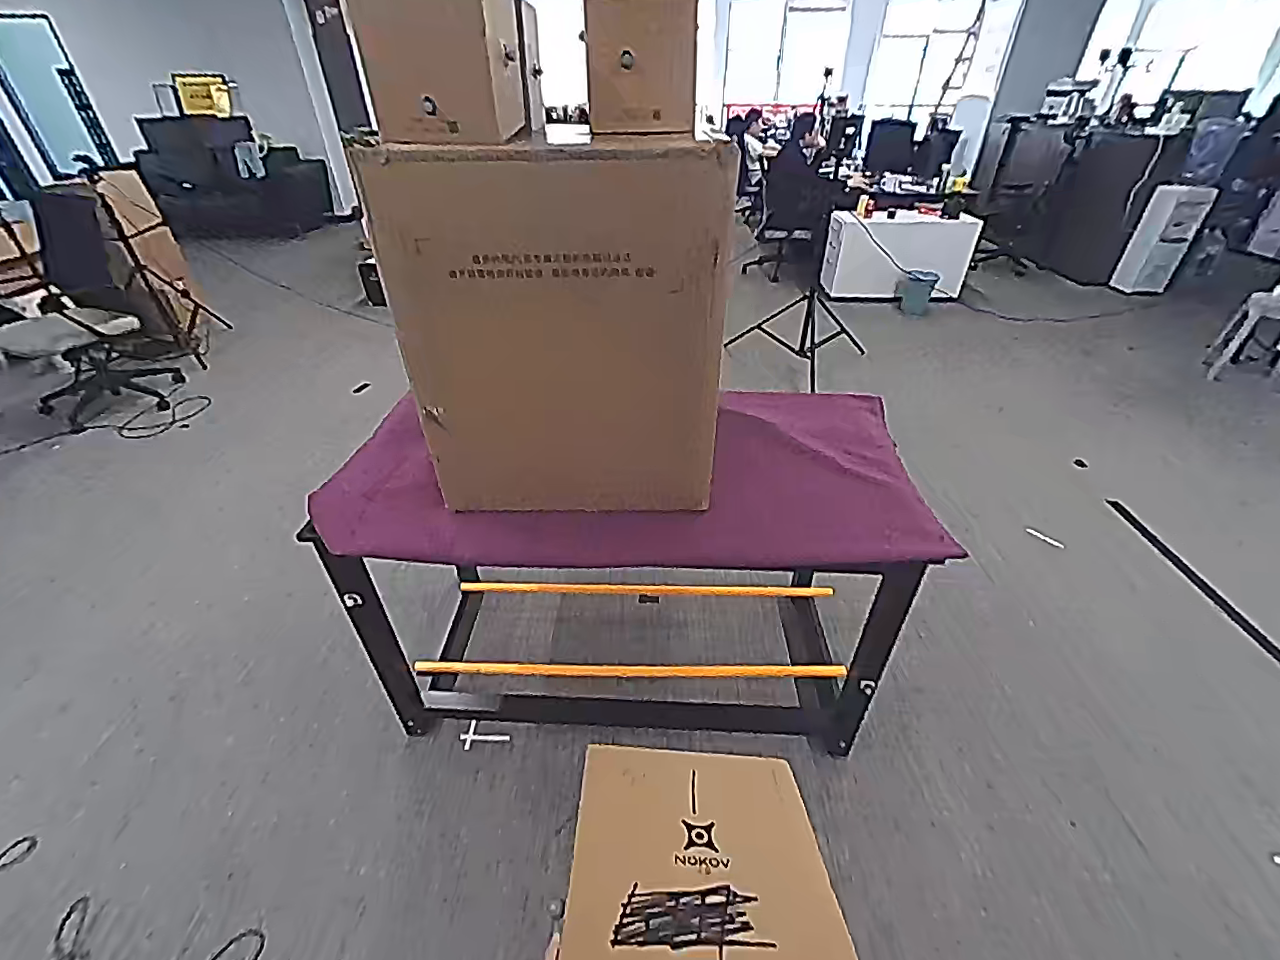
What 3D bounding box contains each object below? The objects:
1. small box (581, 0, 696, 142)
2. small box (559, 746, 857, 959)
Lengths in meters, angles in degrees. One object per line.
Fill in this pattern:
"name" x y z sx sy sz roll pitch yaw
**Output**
"small box" 0.001 -0.647 0.868 0.168 0.176 0.179 -2 35 0
"small box" 0.034 0.321 0.375 0.168 0.176 0.179 5 13 -1
